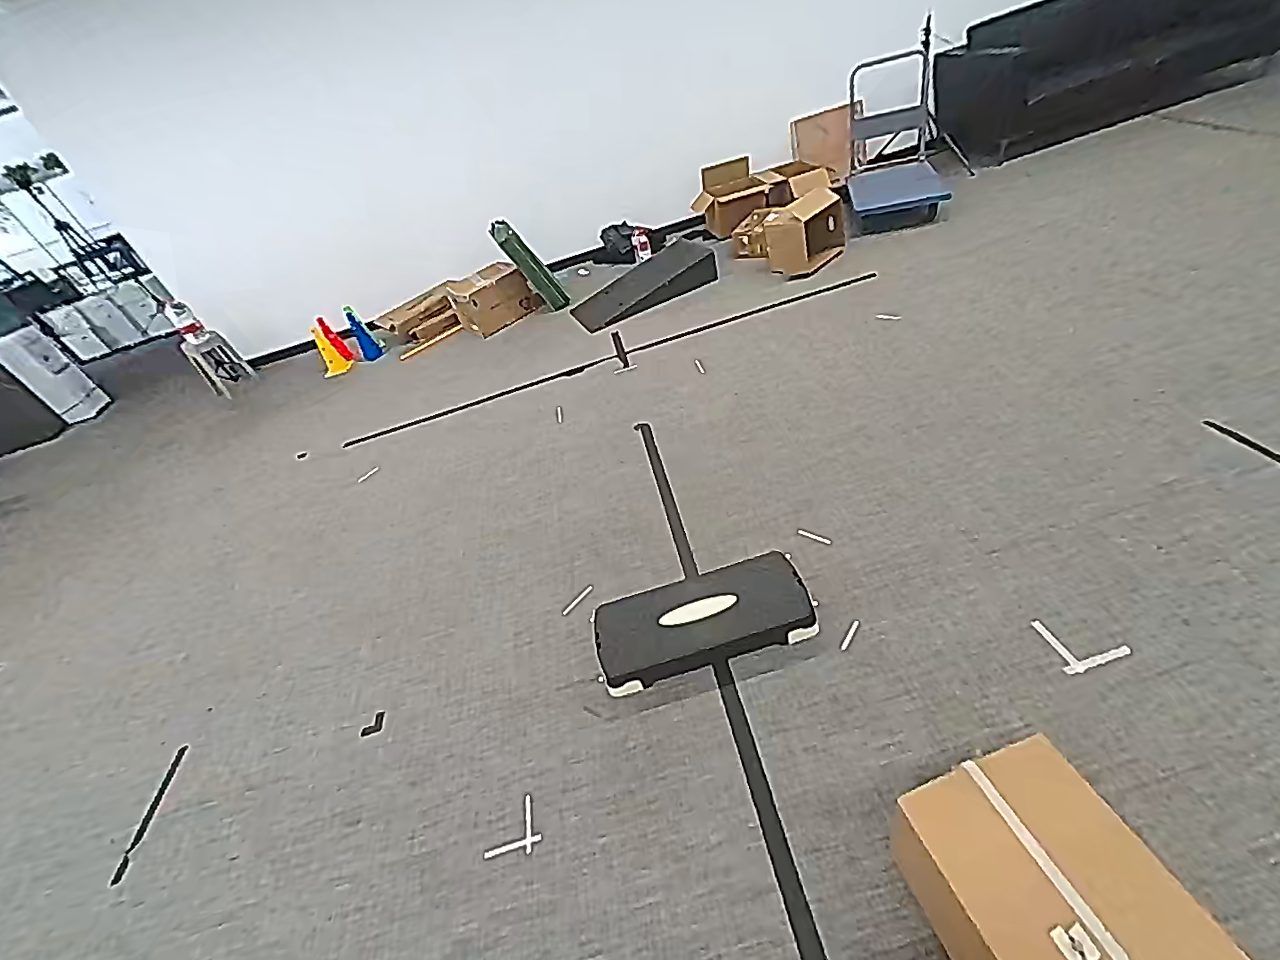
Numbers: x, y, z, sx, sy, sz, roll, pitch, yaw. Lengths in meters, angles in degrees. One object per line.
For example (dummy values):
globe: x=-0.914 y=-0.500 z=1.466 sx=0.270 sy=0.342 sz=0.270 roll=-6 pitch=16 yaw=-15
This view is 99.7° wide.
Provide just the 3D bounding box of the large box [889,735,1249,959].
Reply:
large box: x=0.711 y=0.760 z=0.962 sx=0.320 sy=0.320 sz=0.408 roll=-22 pitch=40 yaw=-4
